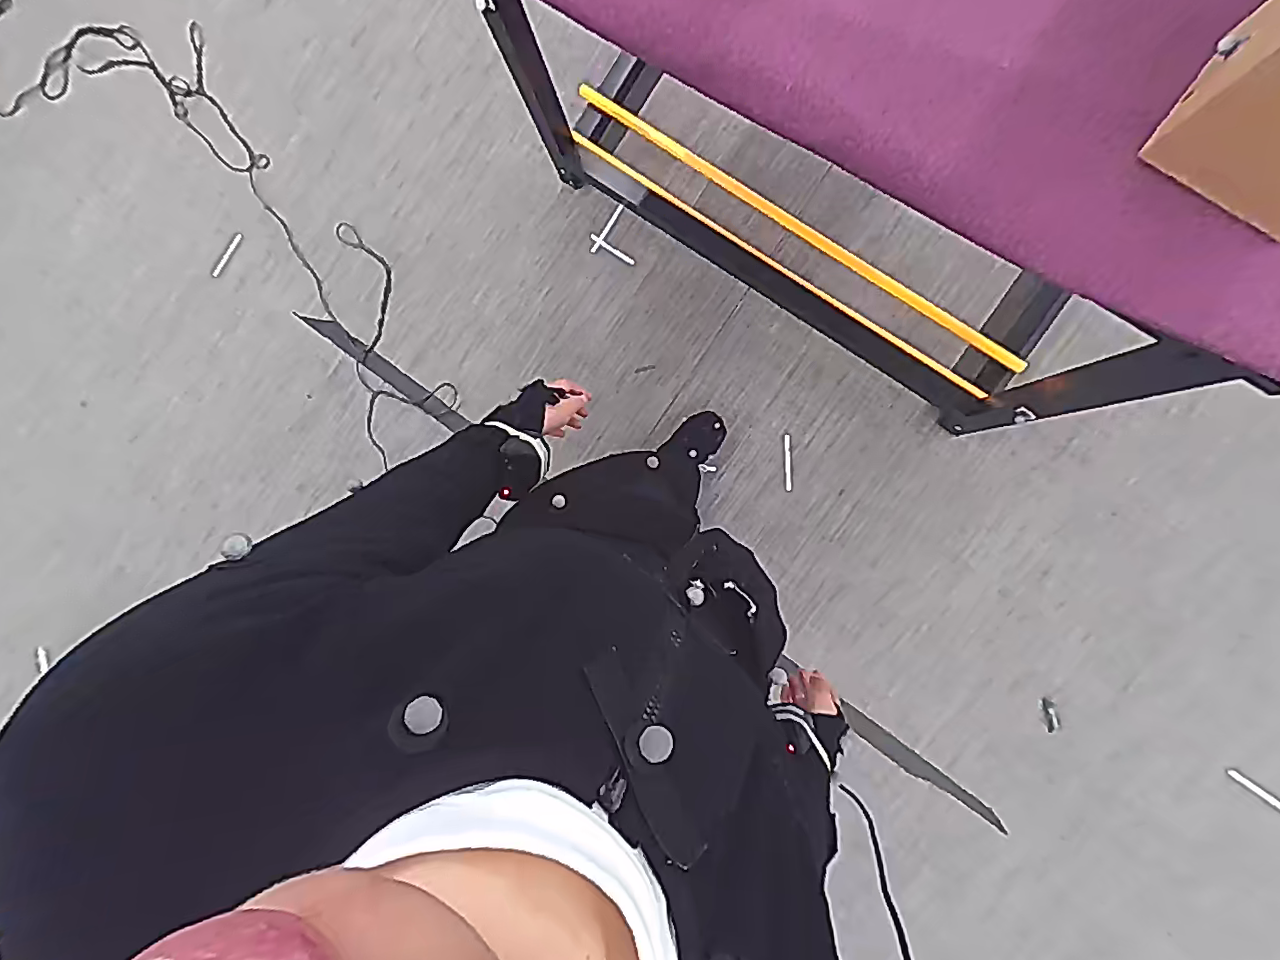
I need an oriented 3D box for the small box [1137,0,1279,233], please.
[{"bbox_3d":[0.635,-0.359,0.491,0.179,0.176,0.168,37,92,6],"label":"small box"}]
